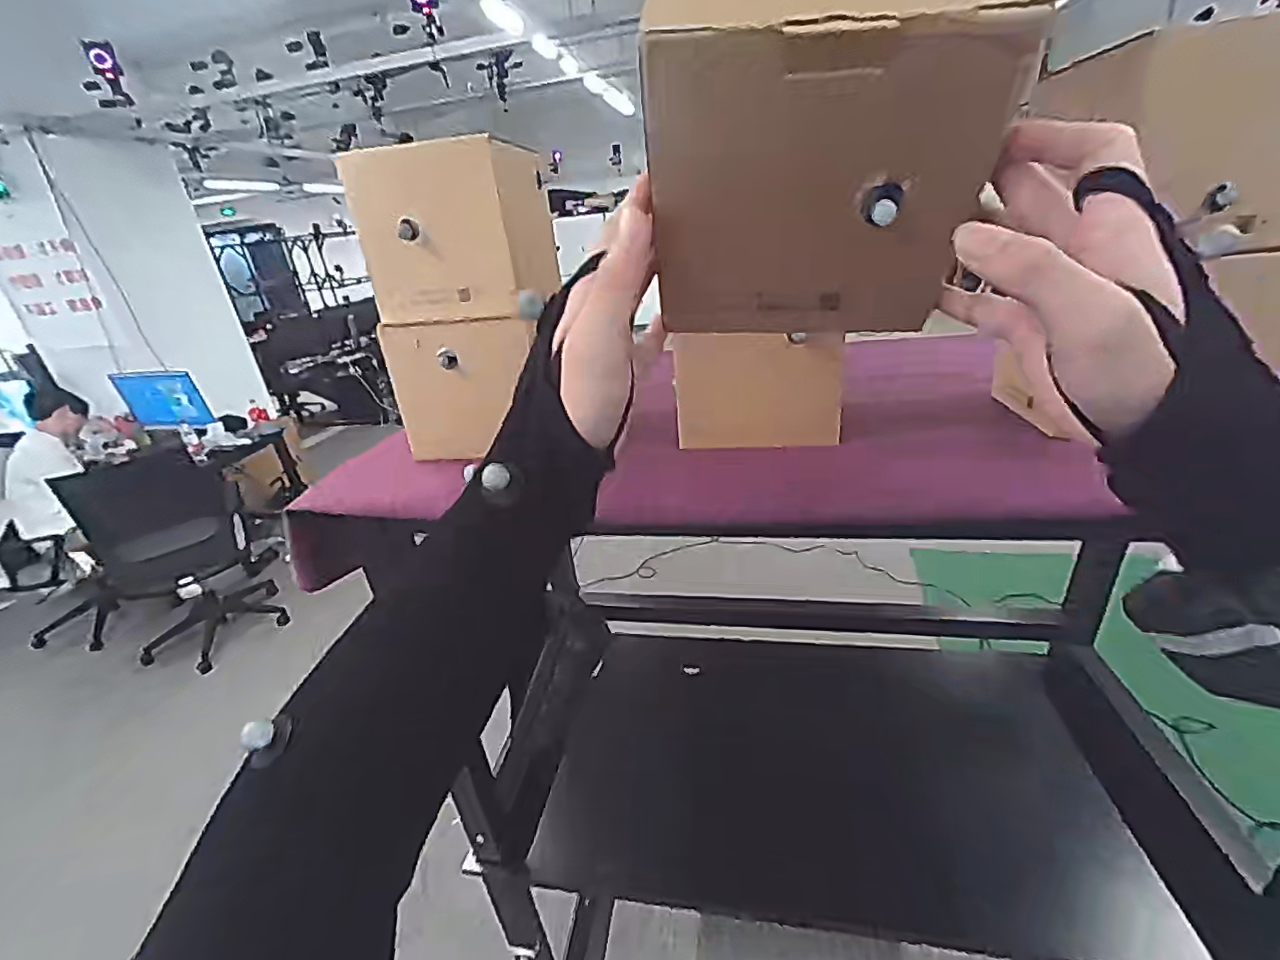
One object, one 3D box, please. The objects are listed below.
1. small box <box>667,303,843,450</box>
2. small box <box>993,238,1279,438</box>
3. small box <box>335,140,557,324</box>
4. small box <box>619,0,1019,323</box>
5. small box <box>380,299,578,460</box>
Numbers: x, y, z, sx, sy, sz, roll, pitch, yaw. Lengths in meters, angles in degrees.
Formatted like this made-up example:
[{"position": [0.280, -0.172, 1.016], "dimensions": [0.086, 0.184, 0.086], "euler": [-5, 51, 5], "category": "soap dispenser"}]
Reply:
[{"position": [0.135, -0.141, 0.637], "dimensions": [0.179, 0.176, 0.168], "euler": [-1, 25, 13], "category": "small box"}, {"position": [0.500, -0.148, 0.556], "dimensions": [0.179, 0.176, 0.168], "euler": [-1, 24, 12], "category": "small box"}, {"position": [-0.205, -0.279, 0.634], "dimensions": [0.168, 0.176, 0.179], "euler": [-2, 25, 9], "category": "small box"}, {"position": [0.091, -0.215, 0.334], "dimensions": [0.168, 0.176, 0.179], "euler": [3, 58, 10], "category": "small box"}, {"position": [-0.191, -0.130, 0.696], "dimensions": [0.179, 0.176, 0.168], "euler": [-1, 26, 9], "category": "small box"}]
